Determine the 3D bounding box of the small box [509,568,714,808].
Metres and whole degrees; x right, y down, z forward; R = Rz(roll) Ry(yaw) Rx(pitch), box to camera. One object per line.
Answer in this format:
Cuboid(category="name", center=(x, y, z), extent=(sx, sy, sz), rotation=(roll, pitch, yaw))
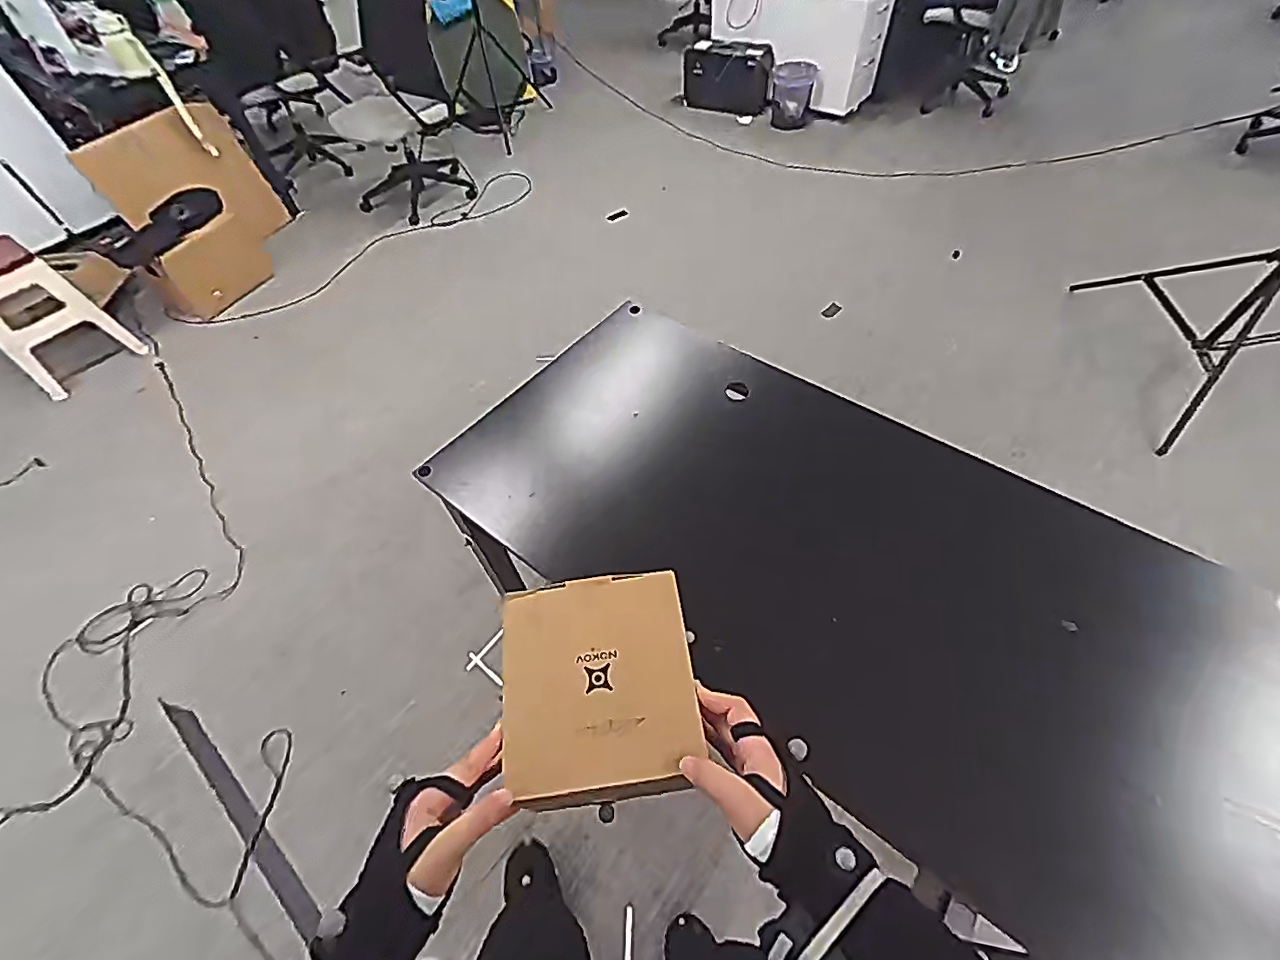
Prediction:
Cuboid(category="small box", center=(-0.030, 0.210, 0.538), extent=(0.168, 0.176, 0.179), rotation=(-8, 57, -3))
